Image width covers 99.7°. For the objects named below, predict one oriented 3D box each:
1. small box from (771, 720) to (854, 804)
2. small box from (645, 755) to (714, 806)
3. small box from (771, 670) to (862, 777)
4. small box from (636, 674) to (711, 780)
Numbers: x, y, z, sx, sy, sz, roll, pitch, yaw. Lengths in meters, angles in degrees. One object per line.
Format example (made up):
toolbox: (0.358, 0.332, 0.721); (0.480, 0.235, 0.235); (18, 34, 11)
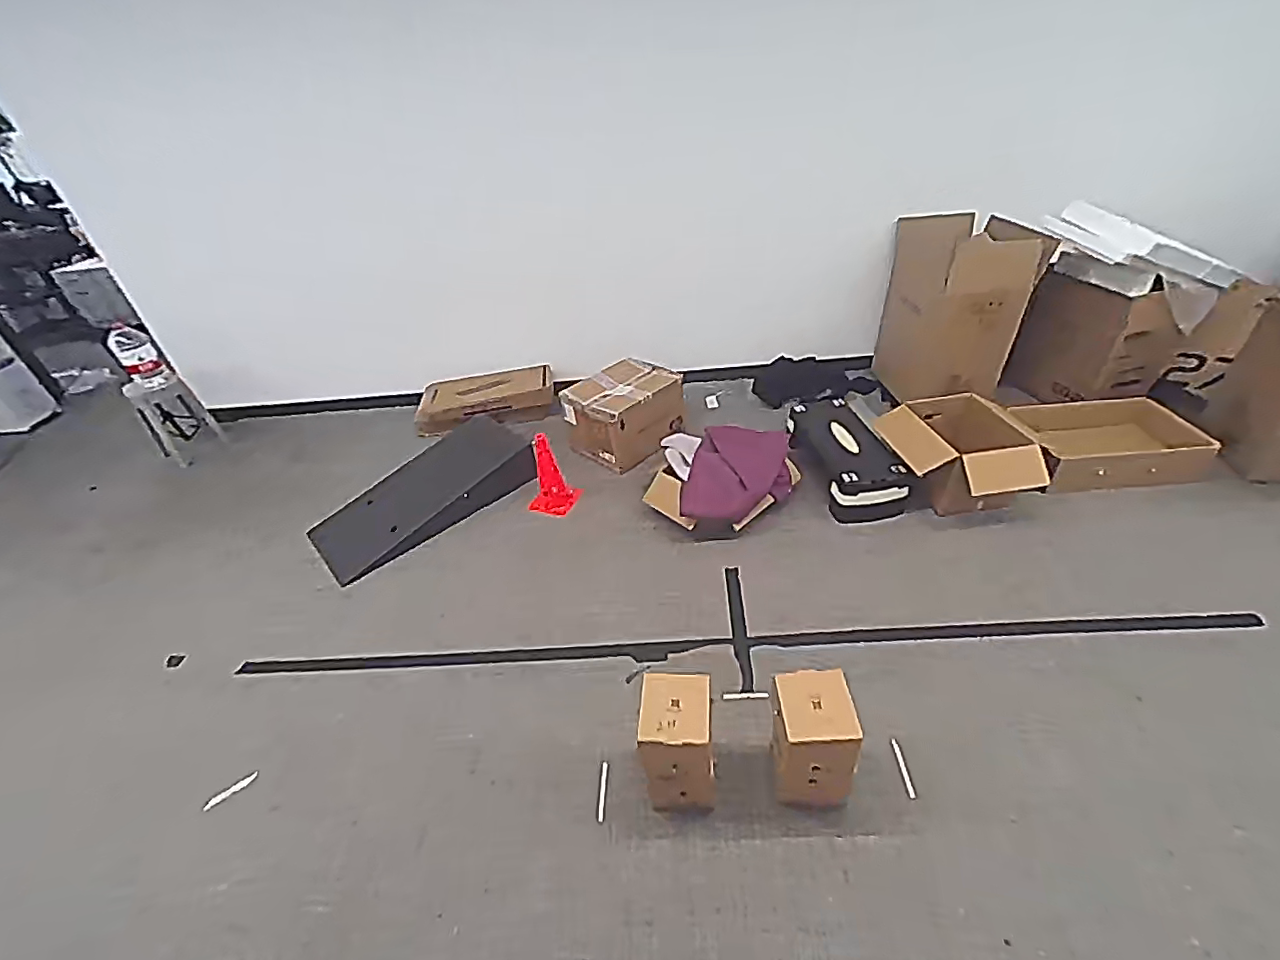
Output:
small box: (0.437, 0.717, 1.401); (0.179, 0.176, 0.168); (-1, 37, 6)
small box: (0.103, 0.739, 1.424); (0.168, 0.176, 0.179); (-4, 37, 4)
small box: (0.416, 0.588, 1.305); (0.168, 0.176, 0.179); (-6, 38, 4)
small box: (0.088, 0.604, 1.328); (0.168, 0.176, 0.179); (-1, 37, 9)
